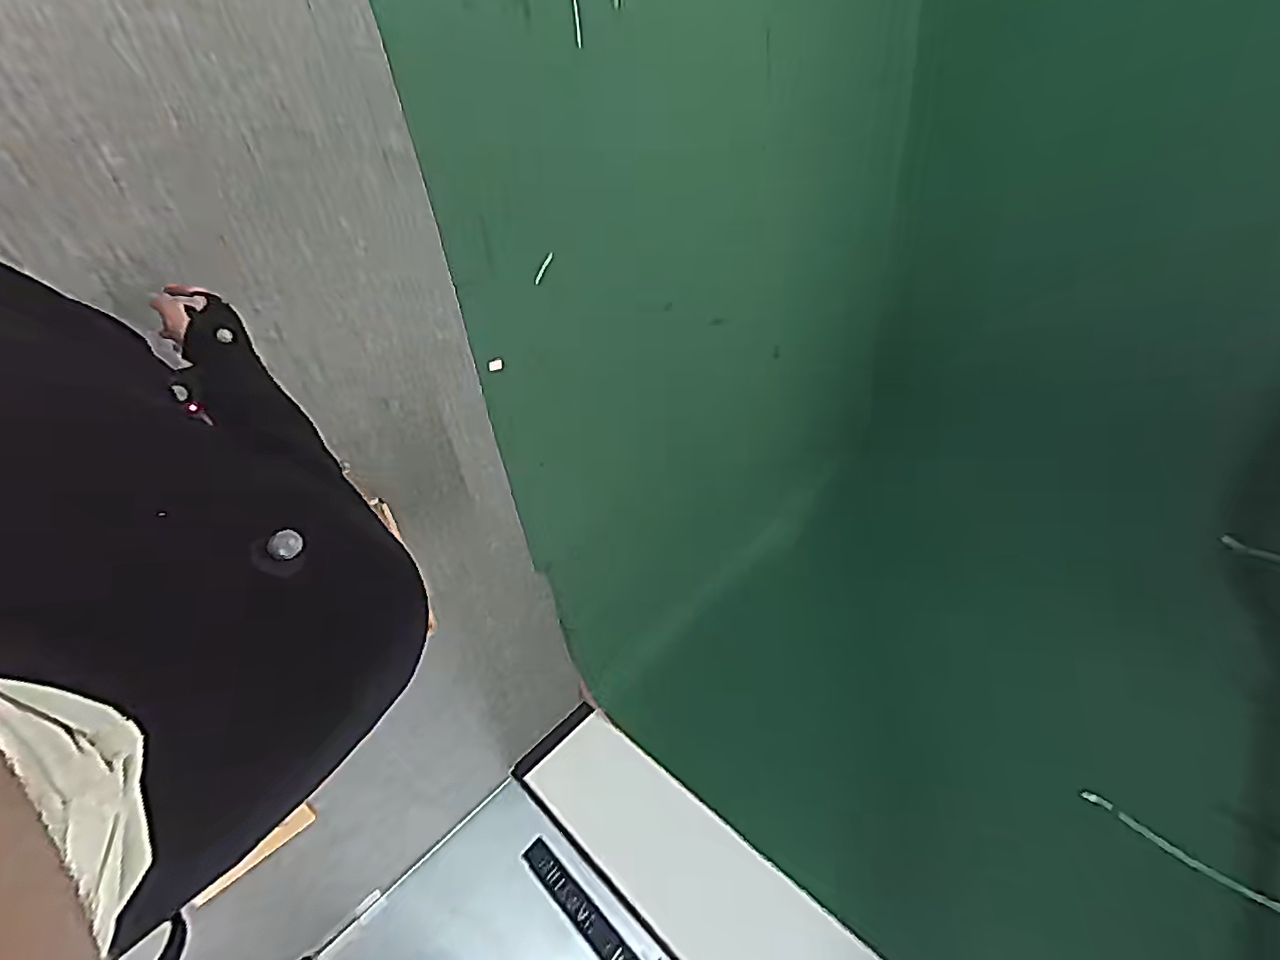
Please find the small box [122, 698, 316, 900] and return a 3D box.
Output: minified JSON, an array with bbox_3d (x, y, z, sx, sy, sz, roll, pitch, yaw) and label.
[{"bbox_3d":[-0.634,0.464,0.817,0.168,0.176,0.179,-31,130,-34],"label":"small box"}]
